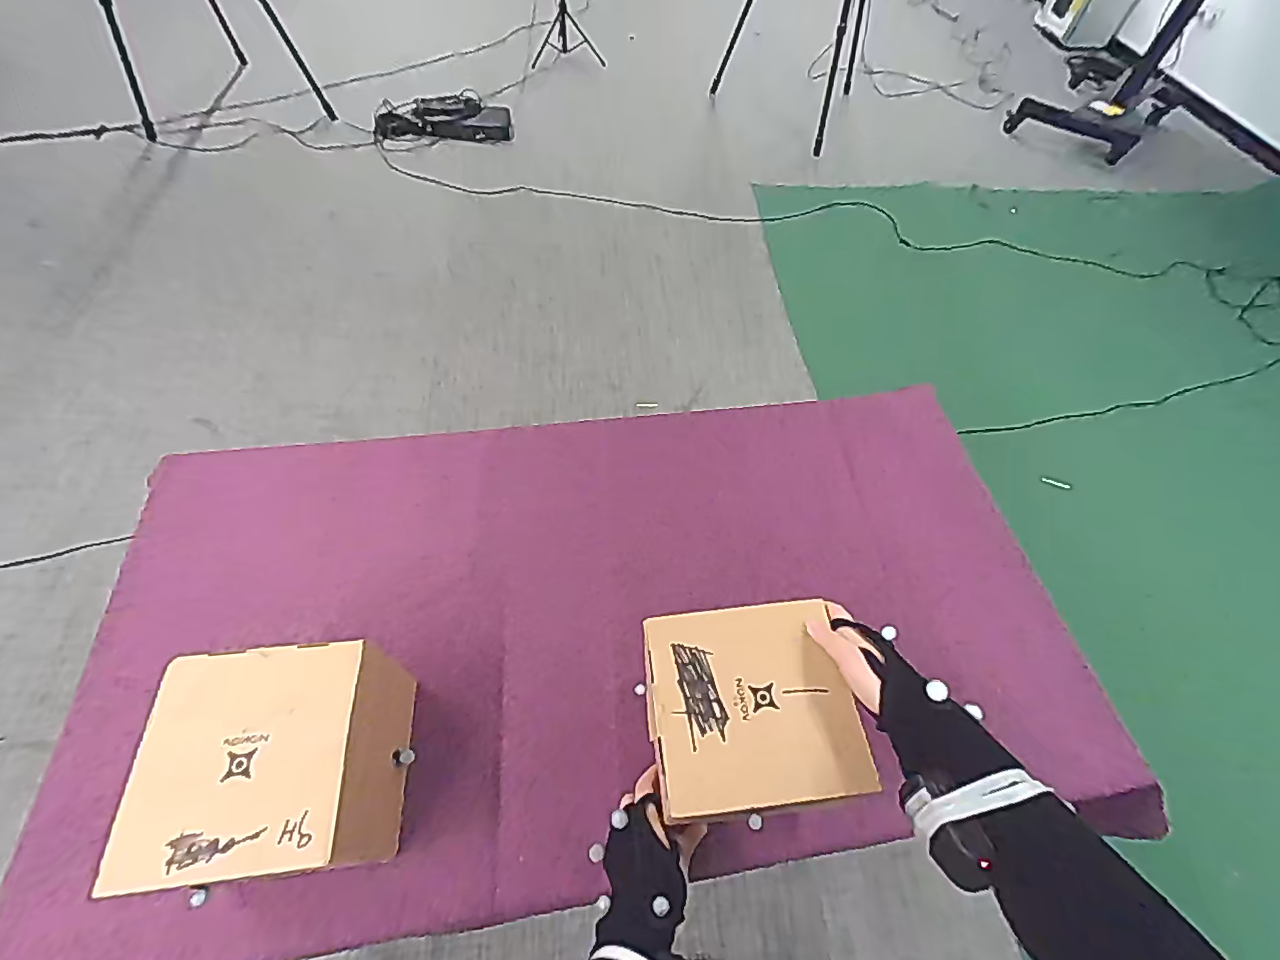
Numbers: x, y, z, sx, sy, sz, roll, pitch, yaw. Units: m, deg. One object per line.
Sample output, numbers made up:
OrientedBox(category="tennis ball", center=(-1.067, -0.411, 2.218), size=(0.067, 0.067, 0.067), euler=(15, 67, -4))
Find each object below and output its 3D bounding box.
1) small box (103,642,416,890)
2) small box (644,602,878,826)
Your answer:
OrientedBox(category="small box", center=(-0.327, 0.272, 0.517), size=(0.168, 0.176, 0.179), euler=(-4, 57, -5))
OrientedBox(category="small box", center=(0.101, 0.238, 0.540), size=(0.179, 0.176, 0.168), euler=(-6, 56, -3))
